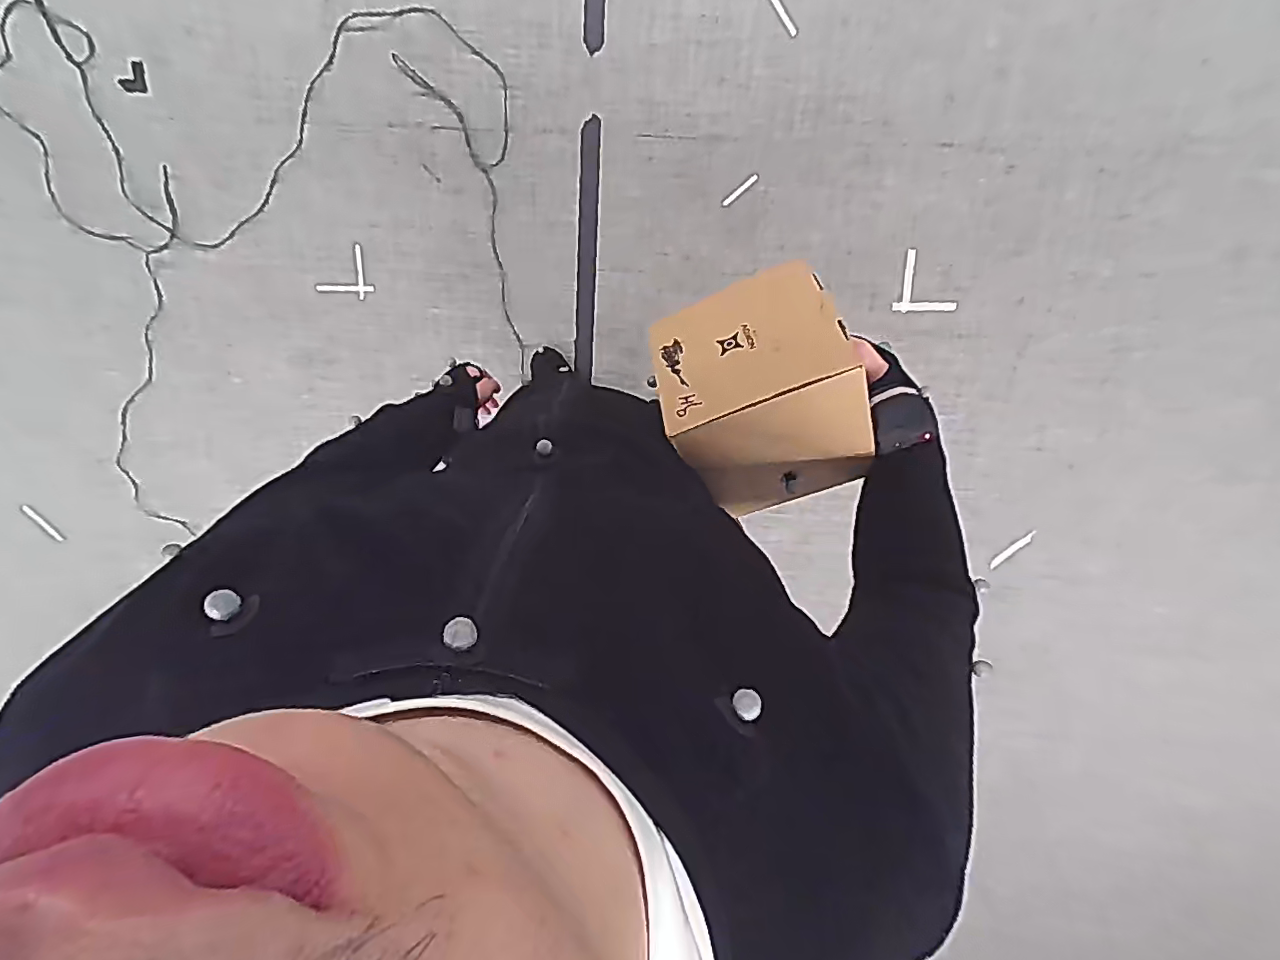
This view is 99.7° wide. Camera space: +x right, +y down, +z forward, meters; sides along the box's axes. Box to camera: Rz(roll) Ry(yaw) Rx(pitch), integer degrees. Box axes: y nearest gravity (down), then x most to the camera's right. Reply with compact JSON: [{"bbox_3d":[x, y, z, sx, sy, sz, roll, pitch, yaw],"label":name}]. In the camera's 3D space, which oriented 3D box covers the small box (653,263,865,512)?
[{"bbox_3d":[0.132,-0.091,0.588,0.179,0.168,0.176,-20,141,15],"label":"small box"}]
